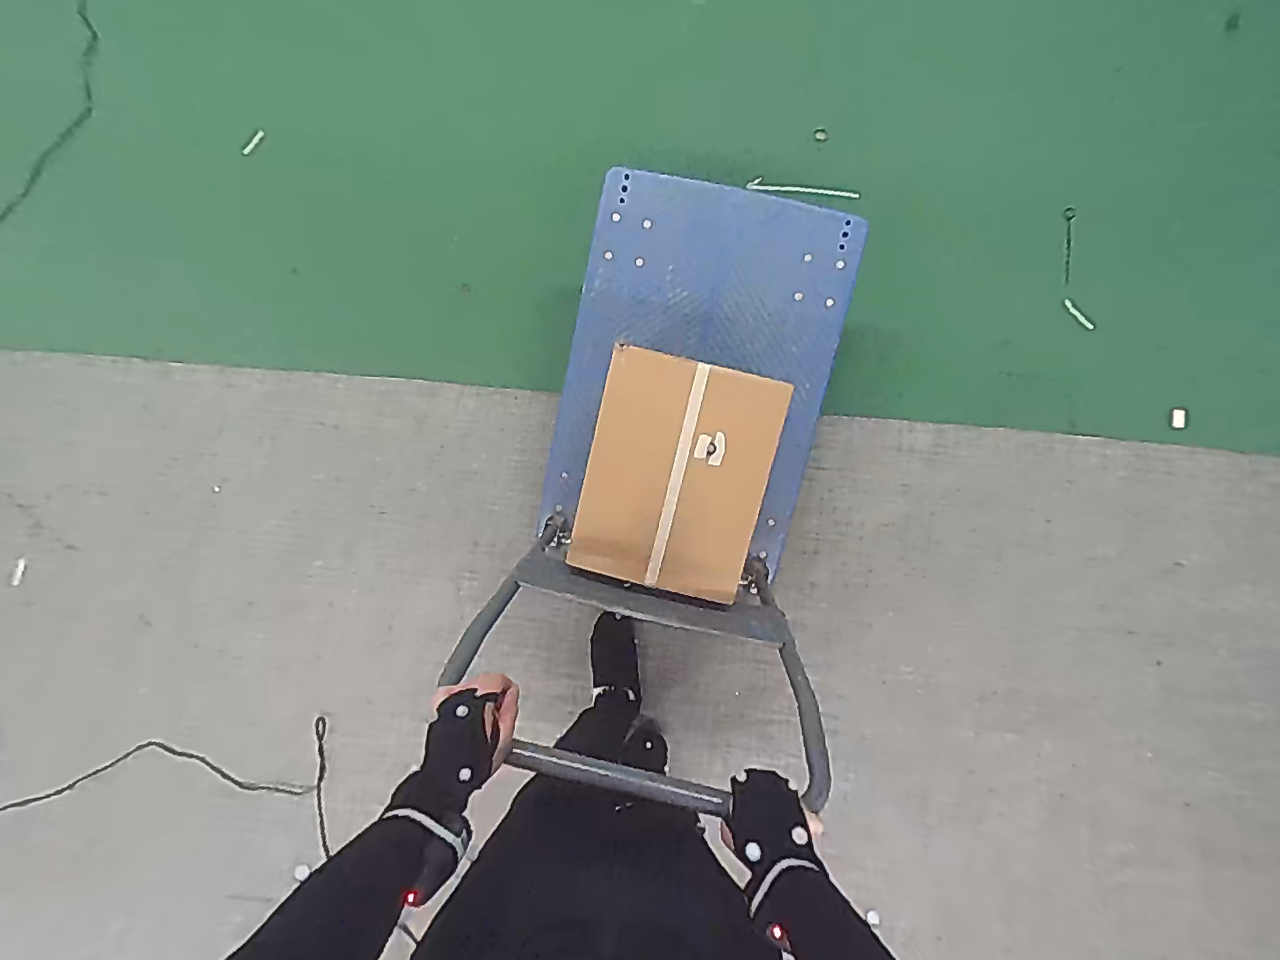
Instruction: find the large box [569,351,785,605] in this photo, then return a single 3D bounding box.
[{"bbox_3d":[0.070,-0.015,1.093,0.320,0.320,0.408,13,98,2],"label":"large box"}]
